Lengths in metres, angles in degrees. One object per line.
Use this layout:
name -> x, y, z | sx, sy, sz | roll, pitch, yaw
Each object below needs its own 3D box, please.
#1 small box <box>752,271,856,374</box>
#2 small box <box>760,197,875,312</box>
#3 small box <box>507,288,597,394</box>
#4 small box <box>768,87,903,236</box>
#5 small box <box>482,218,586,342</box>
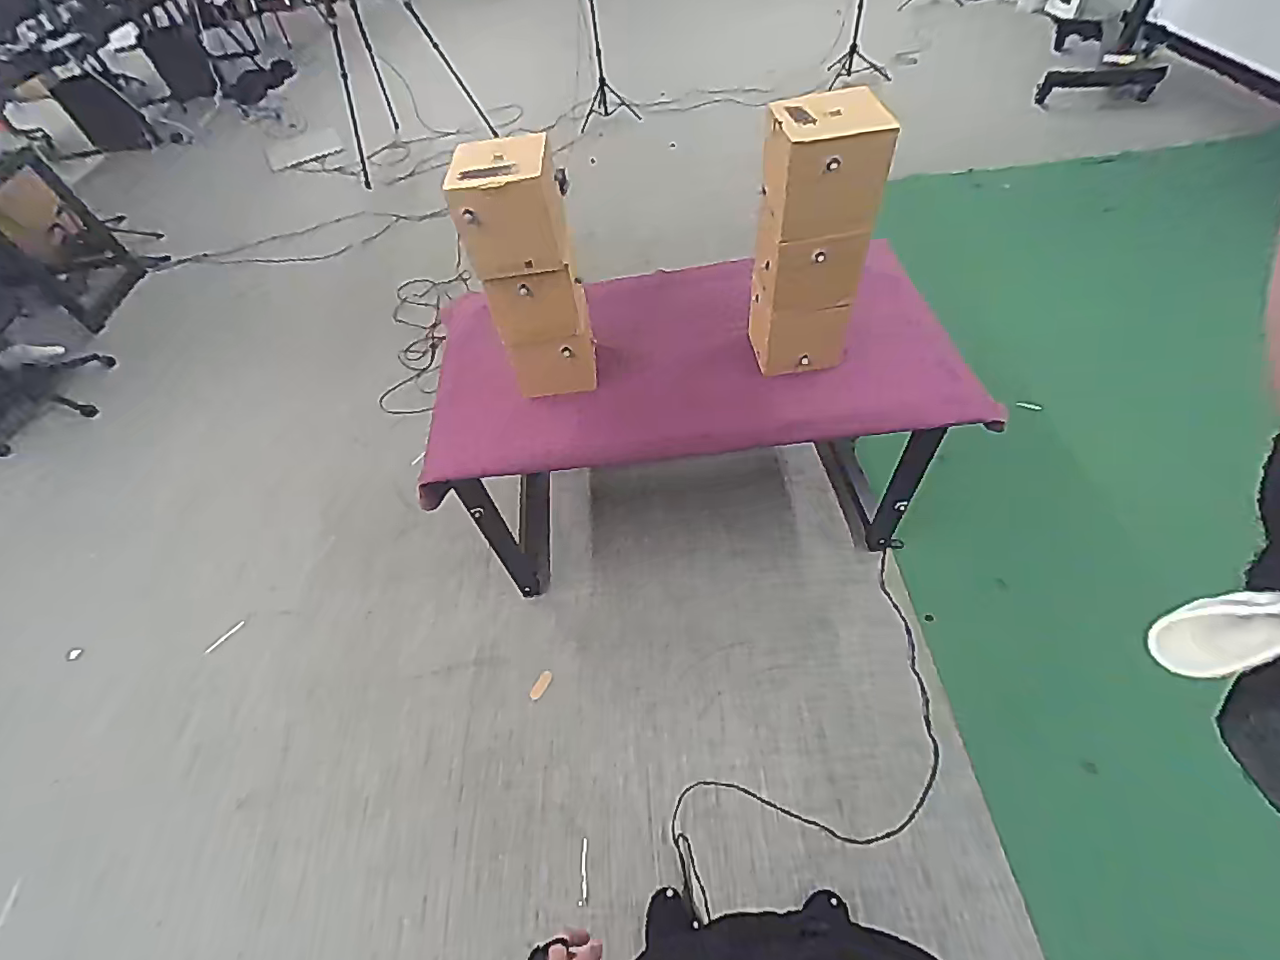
small box -> 0.358, -0.360, 1.215 | 0.179, 0.176, 0.168 | -8, 53, 1
small box -> 0.342, -0.457, 1.084 | 0.179, 0.176, 0.168 | -7, 54, 3
small box -> -0.194, -0.319, 1.254 | 0.179, 0.176, 0.168 | -6, 53, 2
small box -> 0.328, -0.554, 0.953 | 0.179, 0.176, 0.168 | -8, 55, 2
small box -> -0.210, -0.411, 1.122 | 0.179, 0.176, 0.168 | -7, 54, 3
